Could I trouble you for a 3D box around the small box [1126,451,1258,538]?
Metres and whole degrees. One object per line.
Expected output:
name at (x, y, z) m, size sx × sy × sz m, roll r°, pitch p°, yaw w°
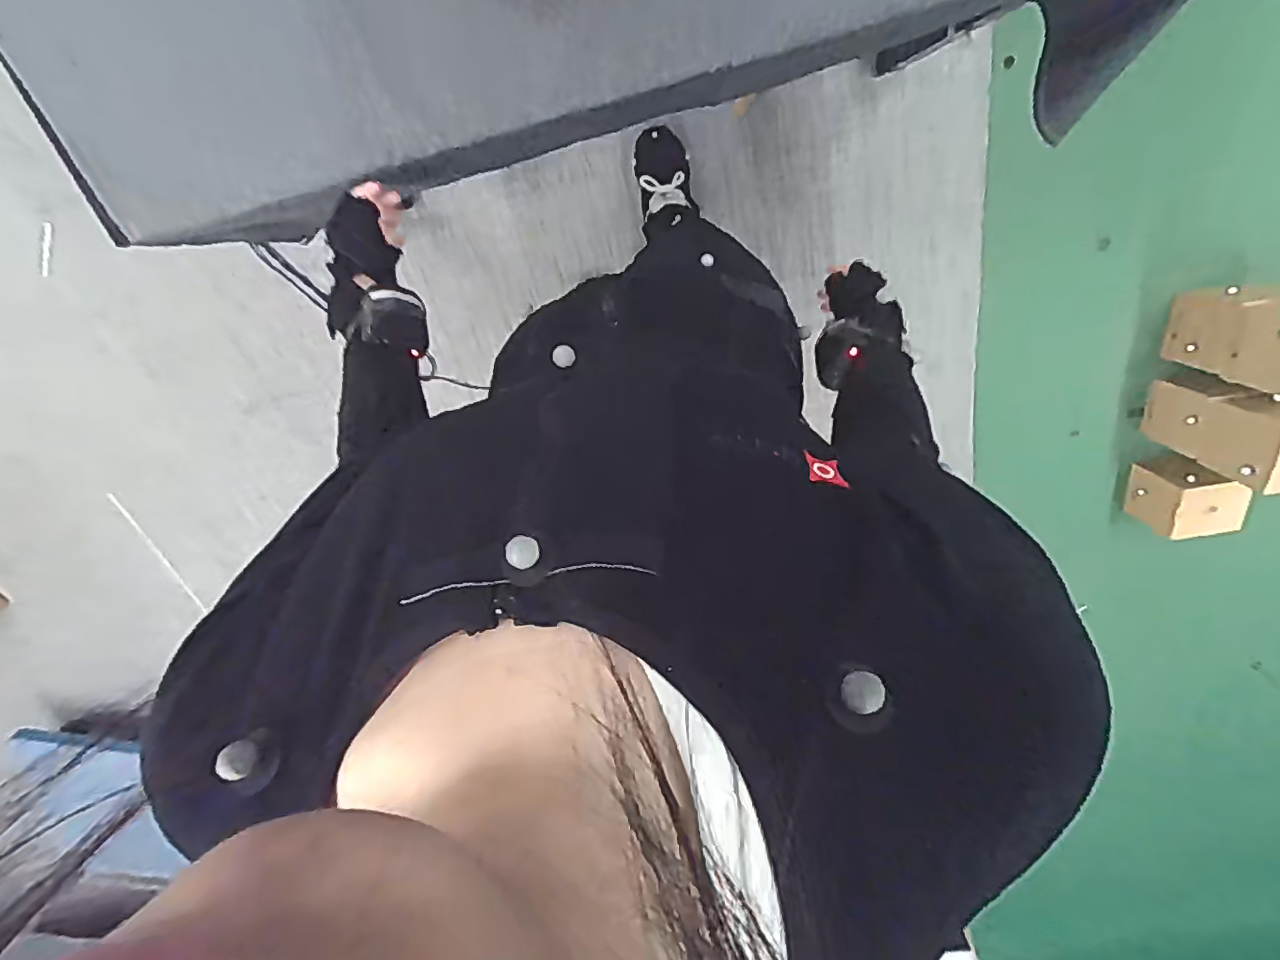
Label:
small box at (1.512, 0.034, 1.494) m, size 0.179 × 0.176 × 0.168 m, roll -11°, pitch 117°, yaw 7°
